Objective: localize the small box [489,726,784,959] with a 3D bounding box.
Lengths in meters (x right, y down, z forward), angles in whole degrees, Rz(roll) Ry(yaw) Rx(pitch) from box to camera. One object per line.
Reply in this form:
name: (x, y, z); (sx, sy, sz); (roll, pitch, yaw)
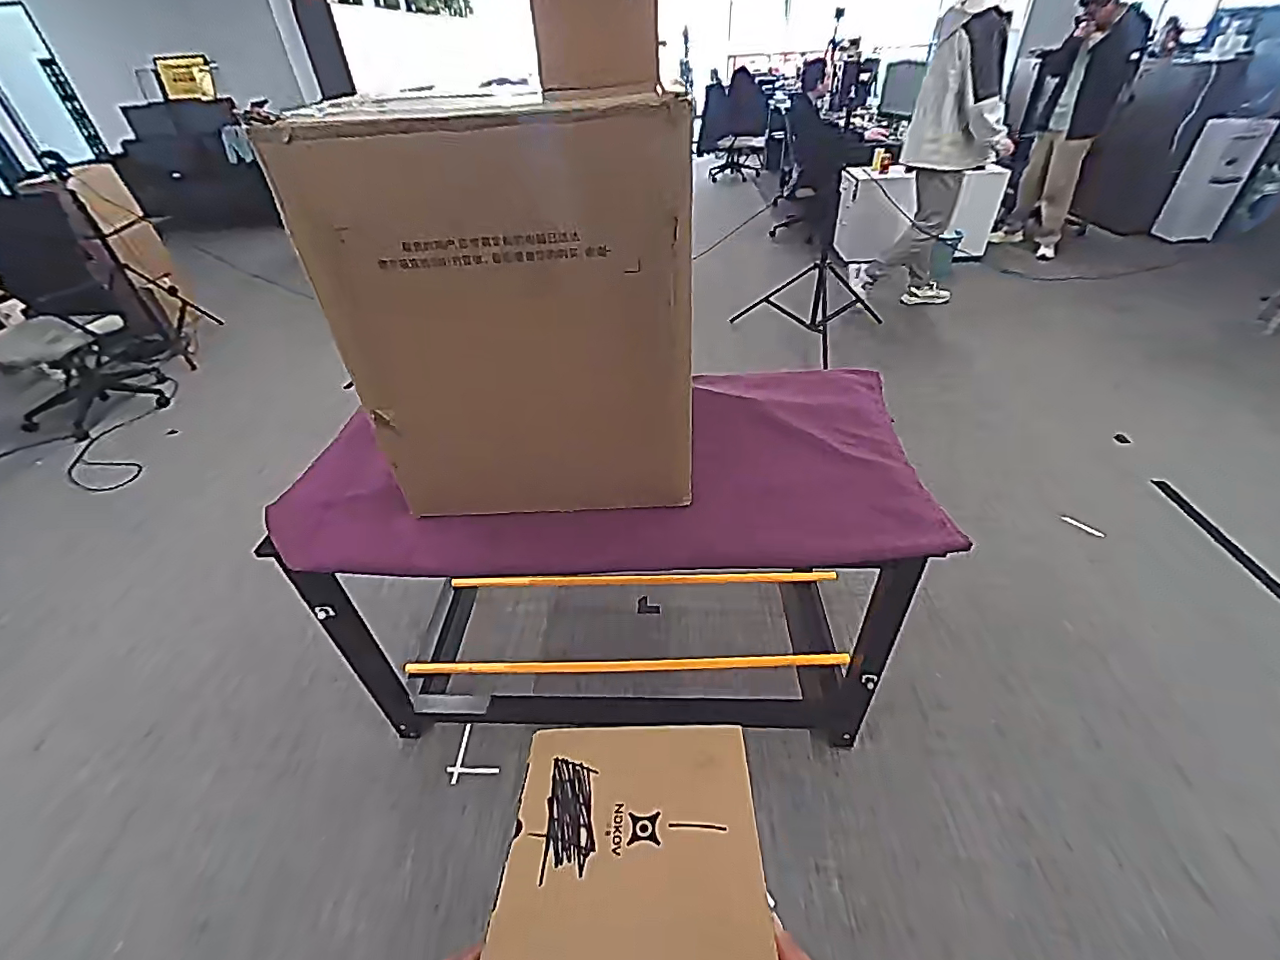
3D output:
small box: (0.007, 0.317, 0.414); (0.179, 0.176, 0.168); (-3, 26, 4)
